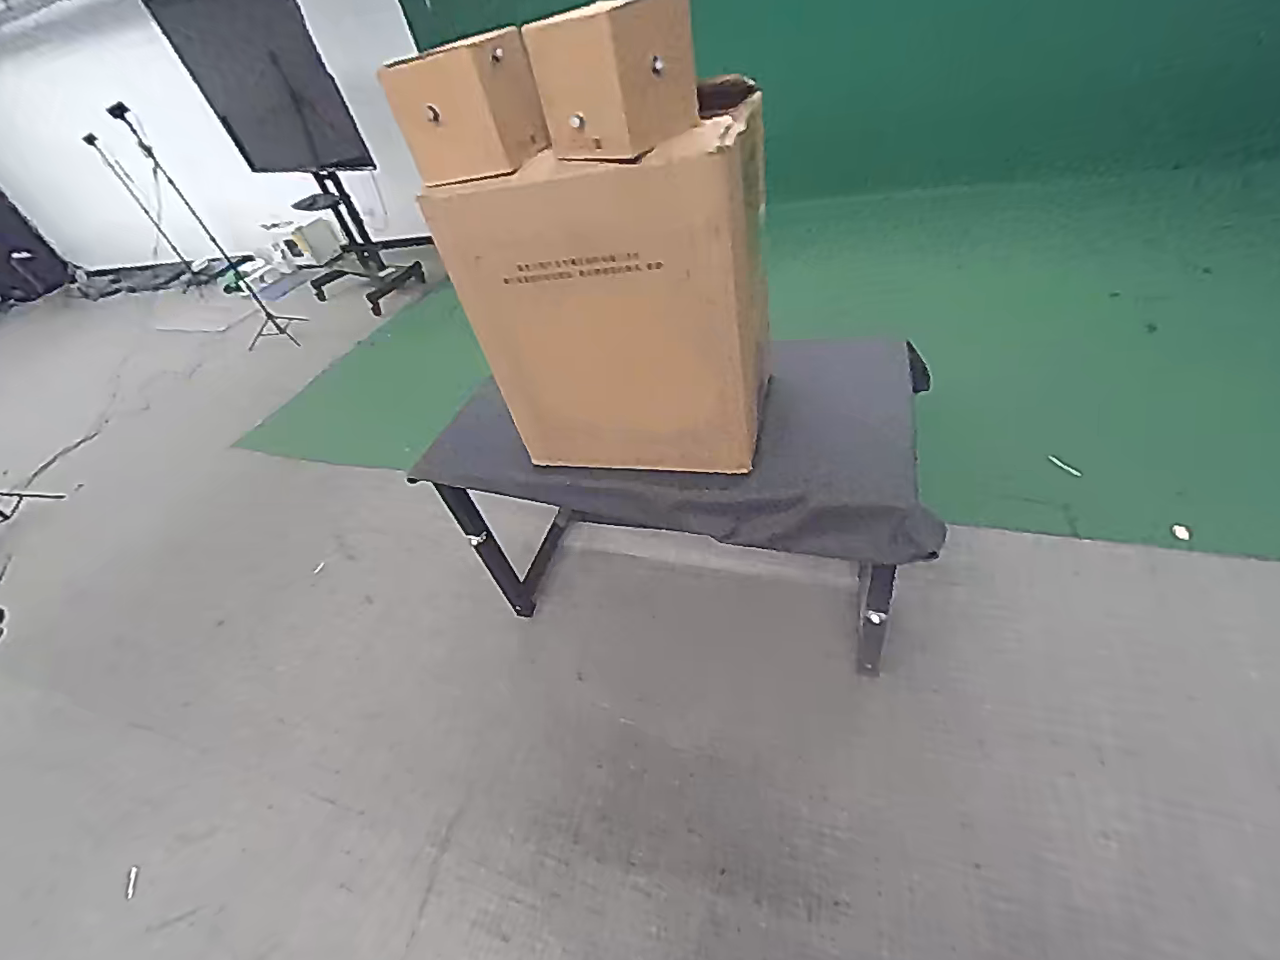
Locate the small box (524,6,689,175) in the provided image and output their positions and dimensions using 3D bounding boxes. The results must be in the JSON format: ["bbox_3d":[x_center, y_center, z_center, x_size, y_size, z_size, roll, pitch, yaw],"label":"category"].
[{"bbox_3d":[-0.040,-0.586,0.823,0.168,0.176,0.179,22,55,35],"label":"small box"}]

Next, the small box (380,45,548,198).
[{"bbox_3d":[-0.284,-0.595,0.911,0.179,0.176,0.168,1,45,21],"label":"small box"}]
